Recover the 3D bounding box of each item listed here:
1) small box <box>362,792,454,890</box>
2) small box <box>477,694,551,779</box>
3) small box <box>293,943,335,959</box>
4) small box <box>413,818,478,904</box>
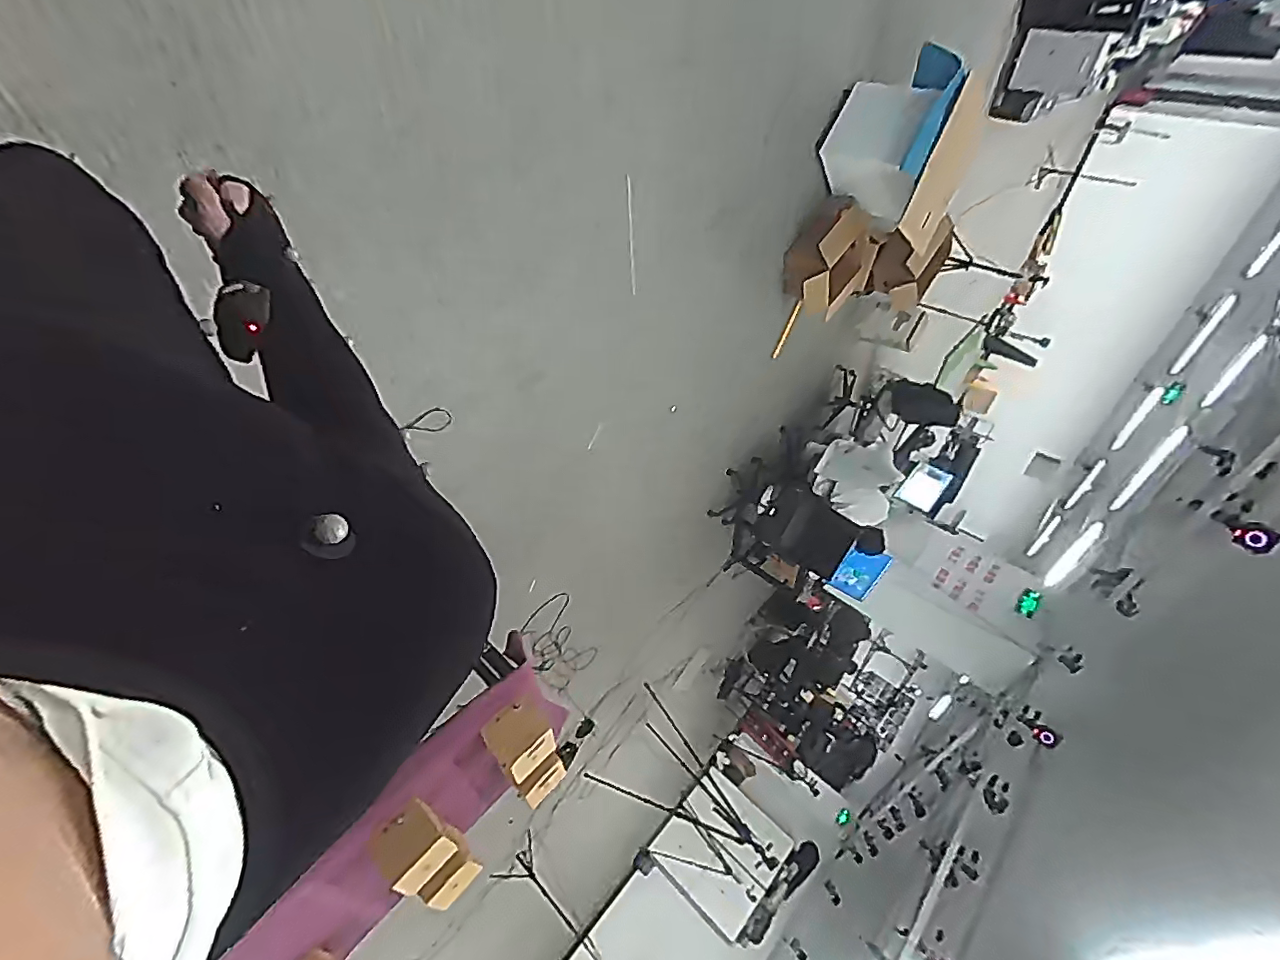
[{"bbox_3d":[-0.691,1.073,1.614,0.168,0.176,0.179,-39,147,-31],"label":"small box"},{"bbox_3d":[-0.420,0.847,1.803,0.168,0.176,0.179,-36,147,-32],"label":"small box"},{"bbox_3d":[-0.990,1.533,1.604,0.168,0.176,0.179,-36,144,-36],"label":"small box"},{"bbox_3d":[-0.687,1.291,1.838,0.168,0.176,0.179,-41,146,-26],"label":"small box"}]
